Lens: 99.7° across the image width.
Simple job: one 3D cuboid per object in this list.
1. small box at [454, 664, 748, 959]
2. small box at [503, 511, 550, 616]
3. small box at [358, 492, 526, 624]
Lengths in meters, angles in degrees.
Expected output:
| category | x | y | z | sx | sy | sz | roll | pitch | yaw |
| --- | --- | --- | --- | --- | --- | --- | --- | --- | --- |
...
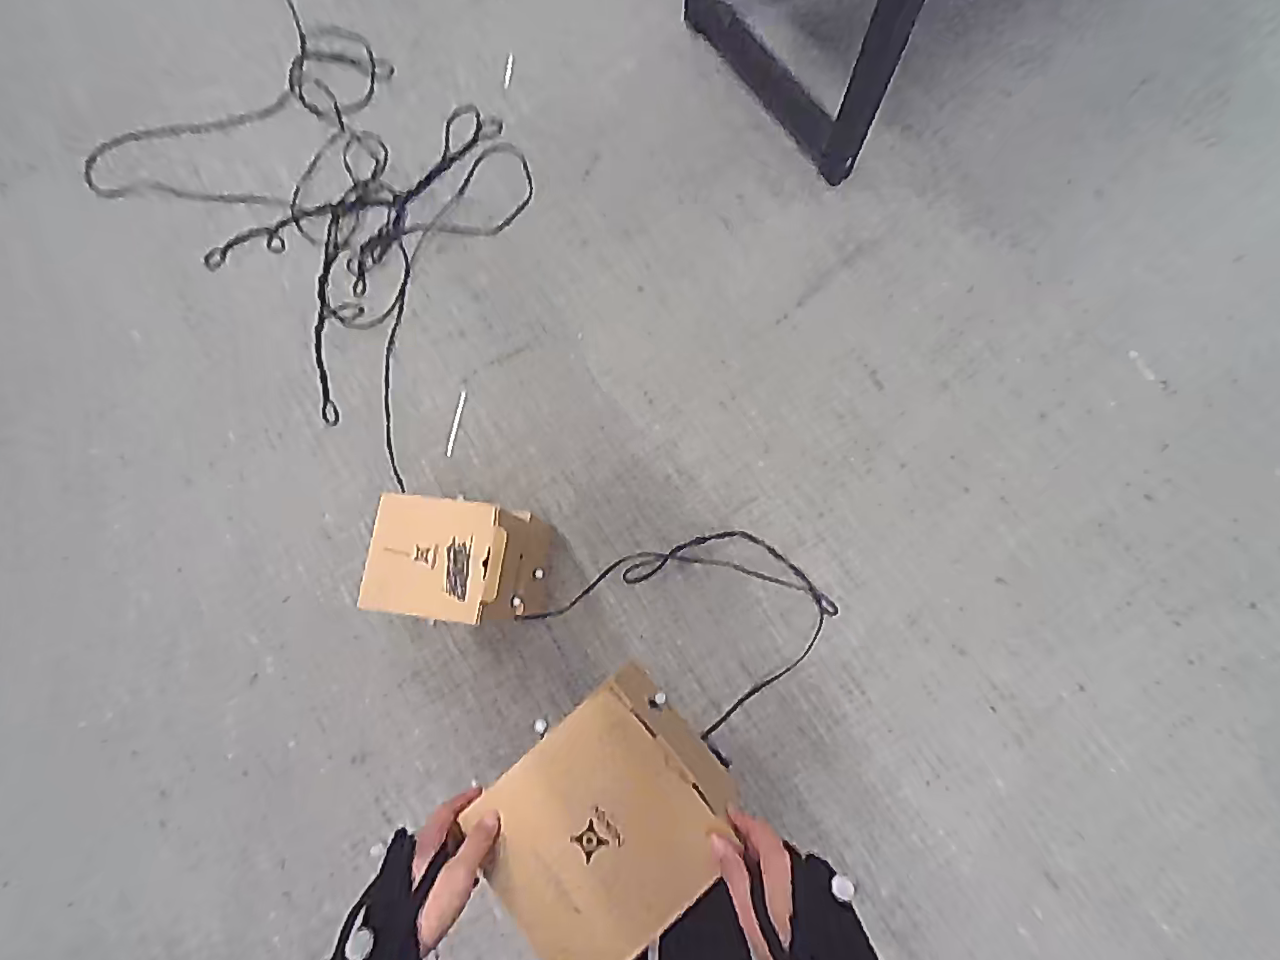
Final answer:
| category | x | y | z | sx | sy | sz | roll | pitch | yaw |
| --- | --- | --- | --- | --- | --- | --- | --- | --- | --- |
| small box | -0.027 | 0.292 | 0.496 | 0.179 | 0.176 | 0.168 | -42 | 76 | -4 |
| small box | -0.266 | 0.152 | 0.987 | 0.168 | 0.176 | 0.179 | 1 | 78 | 4 |
| small box | -0.287 | 0.121 | 0.826 | 0.179 | 0.176 | 0.168 | 6 | 78 | 5 |
